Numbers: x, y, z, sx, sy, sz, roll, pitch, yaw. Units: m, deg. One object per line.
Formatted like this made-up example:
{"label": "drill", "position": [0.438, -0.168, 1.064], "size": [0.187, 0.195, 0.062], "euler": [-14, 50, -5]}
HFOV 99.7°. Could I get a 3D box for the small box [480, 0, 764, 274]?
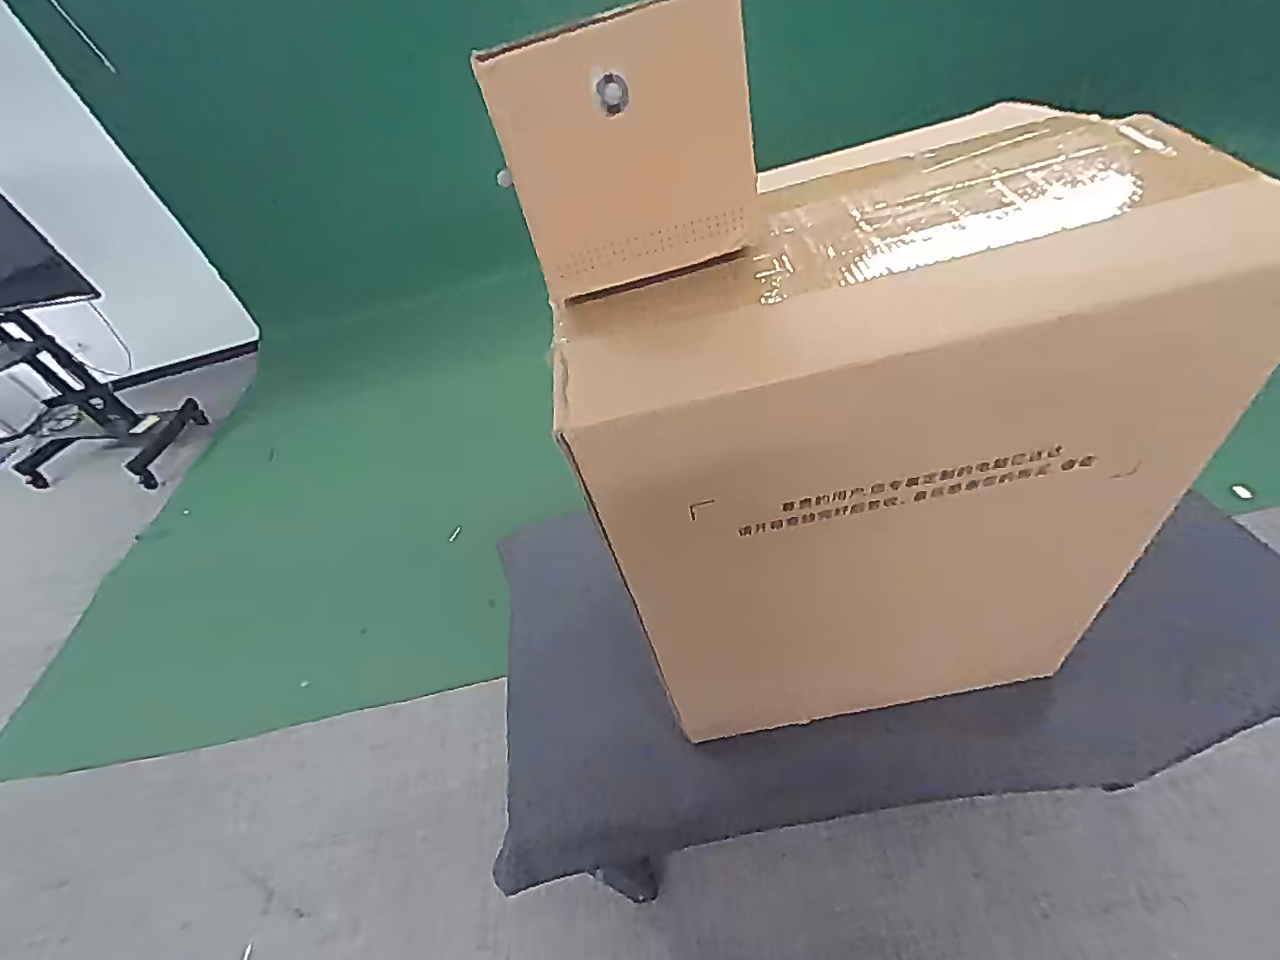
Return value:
{"label": "small box", "position": [-0.008, -0.285, 0.441], "size": [0.179, 0.176, 0.168], "euler": [-13, 38, 1]}
